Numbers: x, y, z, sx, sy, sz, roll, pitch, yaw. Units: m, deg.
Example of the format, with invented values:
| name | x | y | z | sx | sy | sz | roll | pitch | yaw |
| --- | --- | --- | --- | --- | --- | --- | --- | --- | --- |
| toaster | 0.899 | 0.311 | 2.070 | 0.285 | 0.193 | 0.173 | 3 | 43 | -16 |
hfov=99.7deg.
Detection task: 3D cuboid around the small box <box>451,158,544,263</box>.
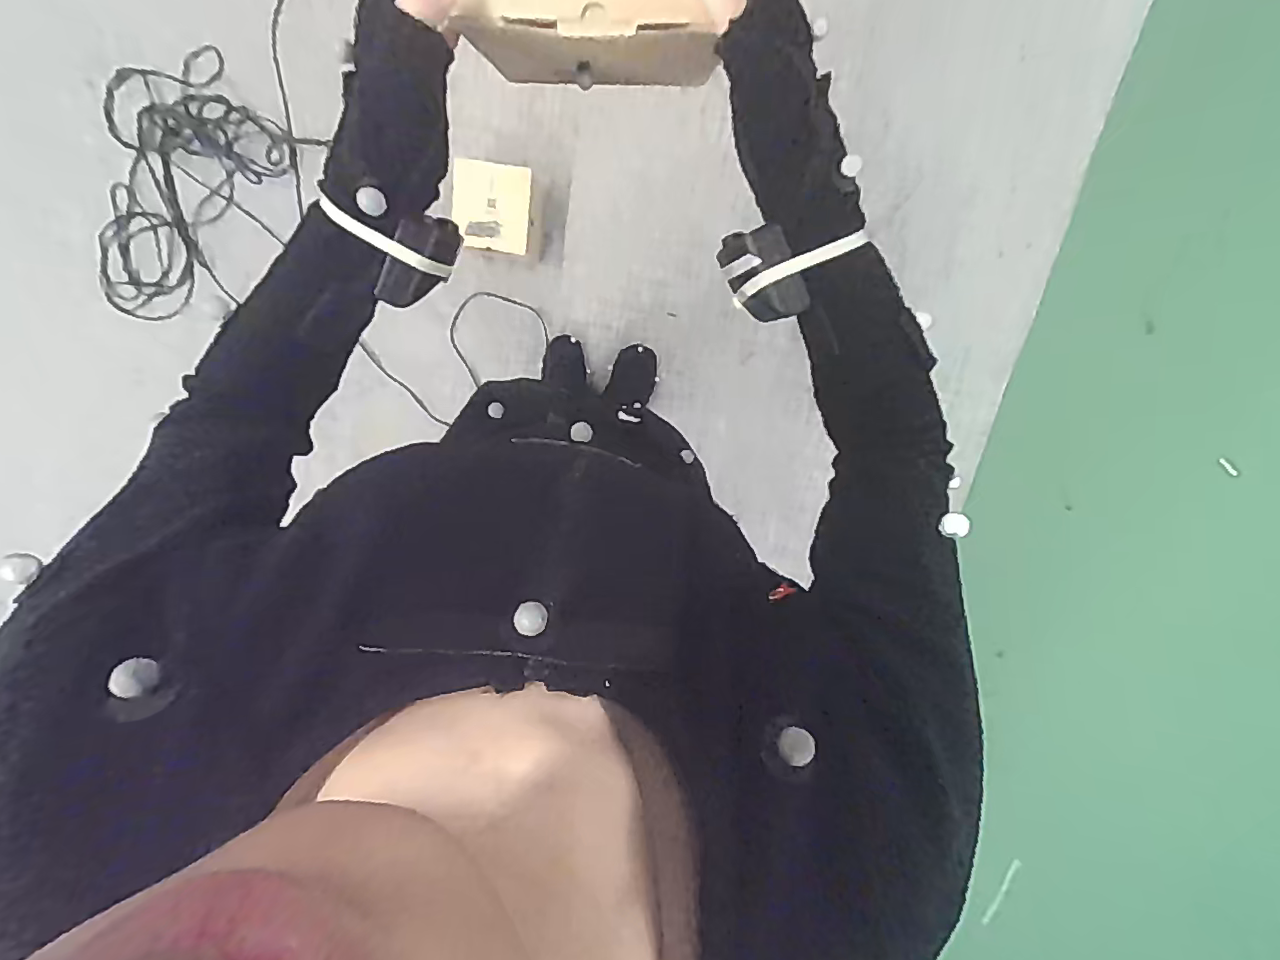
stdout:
| name | x | y | z | sx | sy | sz | roll | pitch | yaw |
| --- | --- | --- | --- | --- | --- | --- | --- | --- | --- |
| small box | -0.318 | -0.602 | 1.230 | 0.168 | 0.176 | 0.179 | 7 | 106 | -3 |
